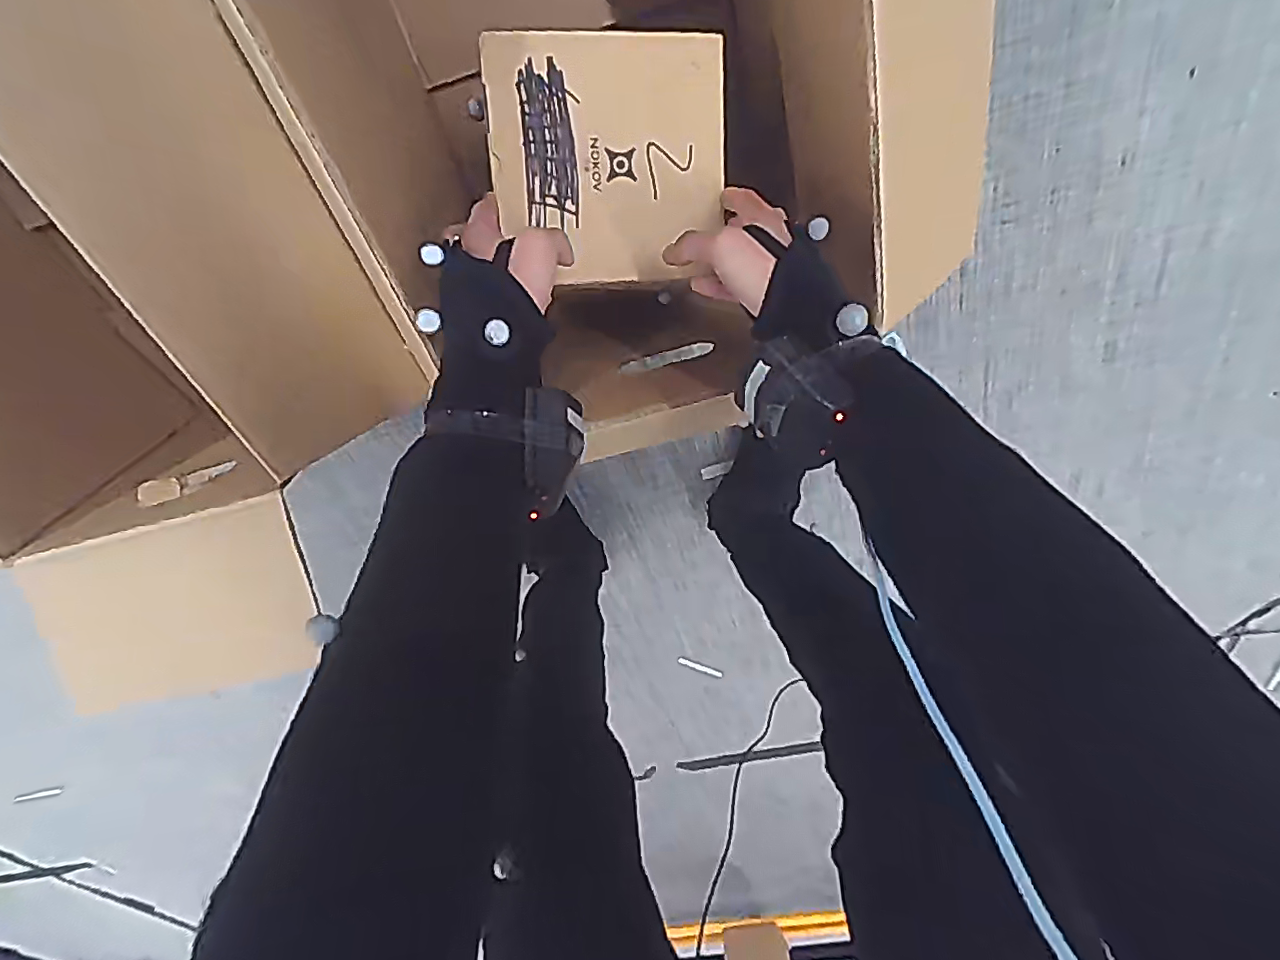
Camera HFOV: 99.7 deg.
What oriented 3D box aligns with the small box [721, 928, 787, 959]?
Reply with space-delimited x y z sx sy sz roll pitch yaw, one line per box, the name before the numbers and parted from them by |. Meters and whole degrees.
small box | 0.361 1.508 1.661 0.179 0.176 0.168 -16 124 13
